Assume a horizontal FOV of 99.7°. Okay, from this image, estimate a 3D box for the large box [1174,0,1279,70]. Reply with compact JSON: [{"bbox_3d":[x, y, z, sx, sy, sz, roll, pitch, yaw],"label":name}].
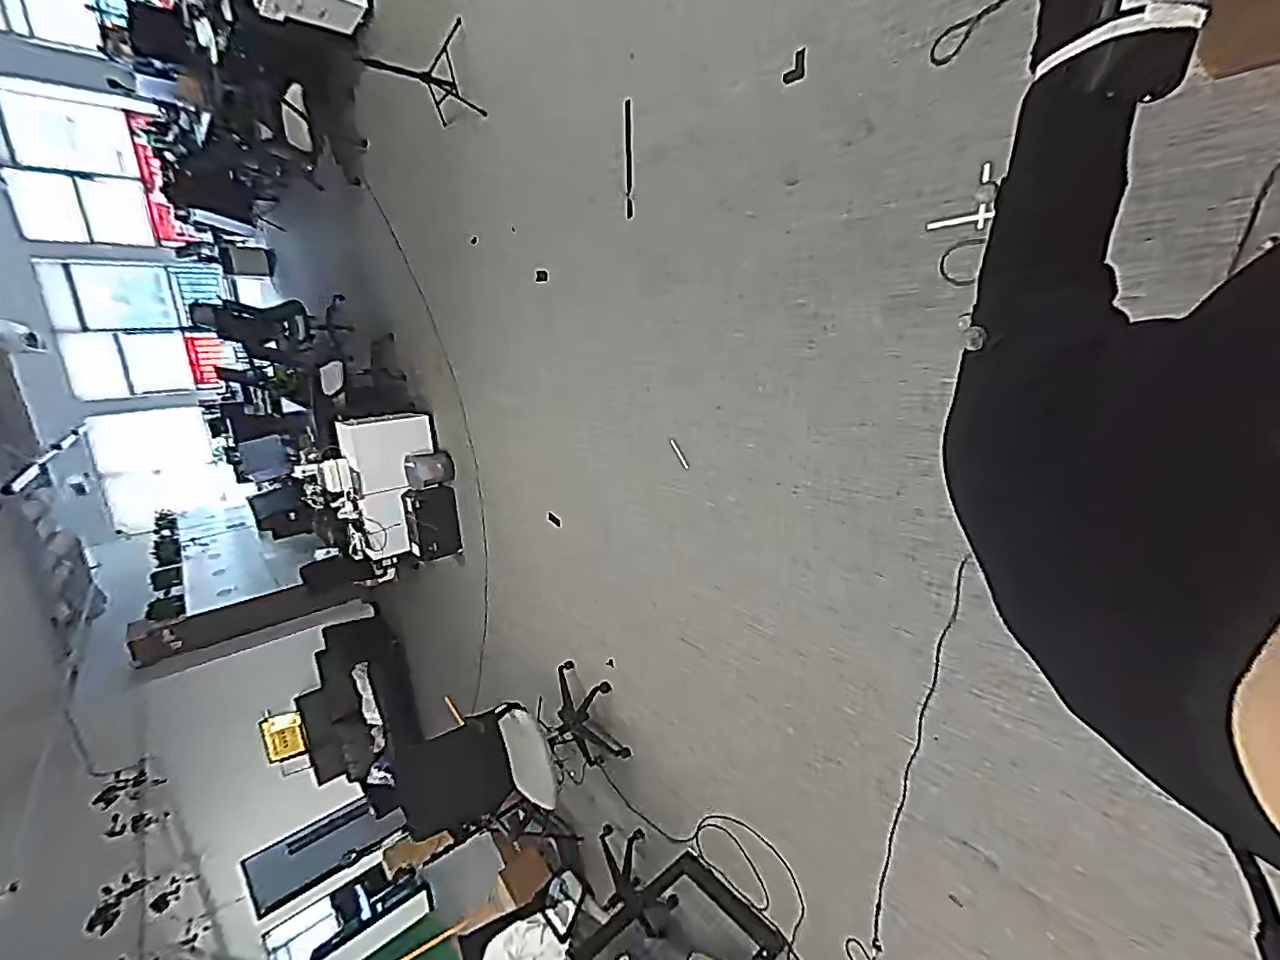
[{"bbox_3d":[0.563,-0.480,0.259,0.408,0.320,0.320,13,116,47],"label":"large box"}]
